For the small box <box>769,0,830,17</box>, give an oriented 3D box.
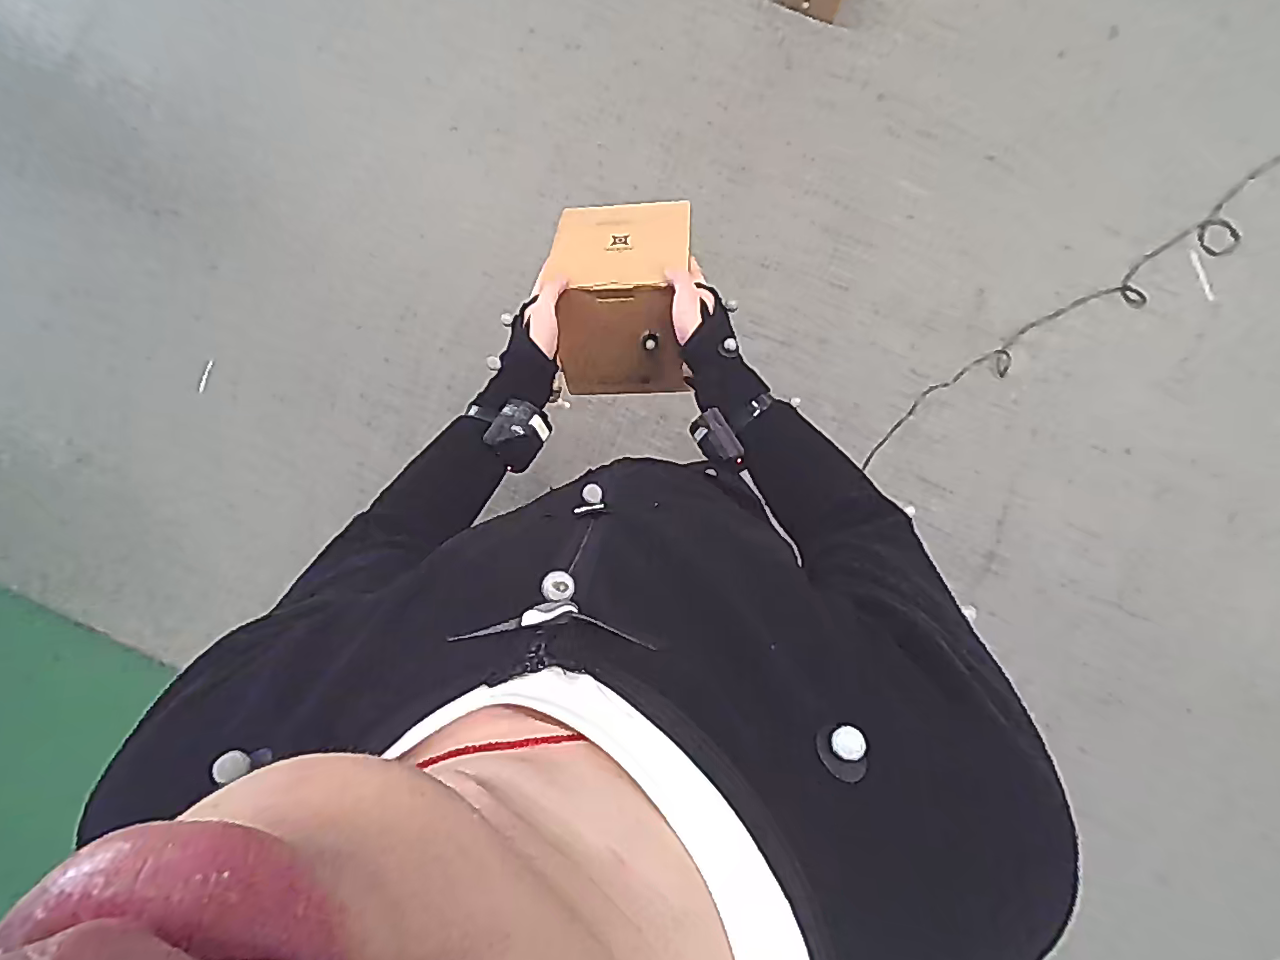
[{"bbox_3d":[0.442,-1.348,1.386,0.179,0.176,0.168,22,95,2],"label":"small box"}]
